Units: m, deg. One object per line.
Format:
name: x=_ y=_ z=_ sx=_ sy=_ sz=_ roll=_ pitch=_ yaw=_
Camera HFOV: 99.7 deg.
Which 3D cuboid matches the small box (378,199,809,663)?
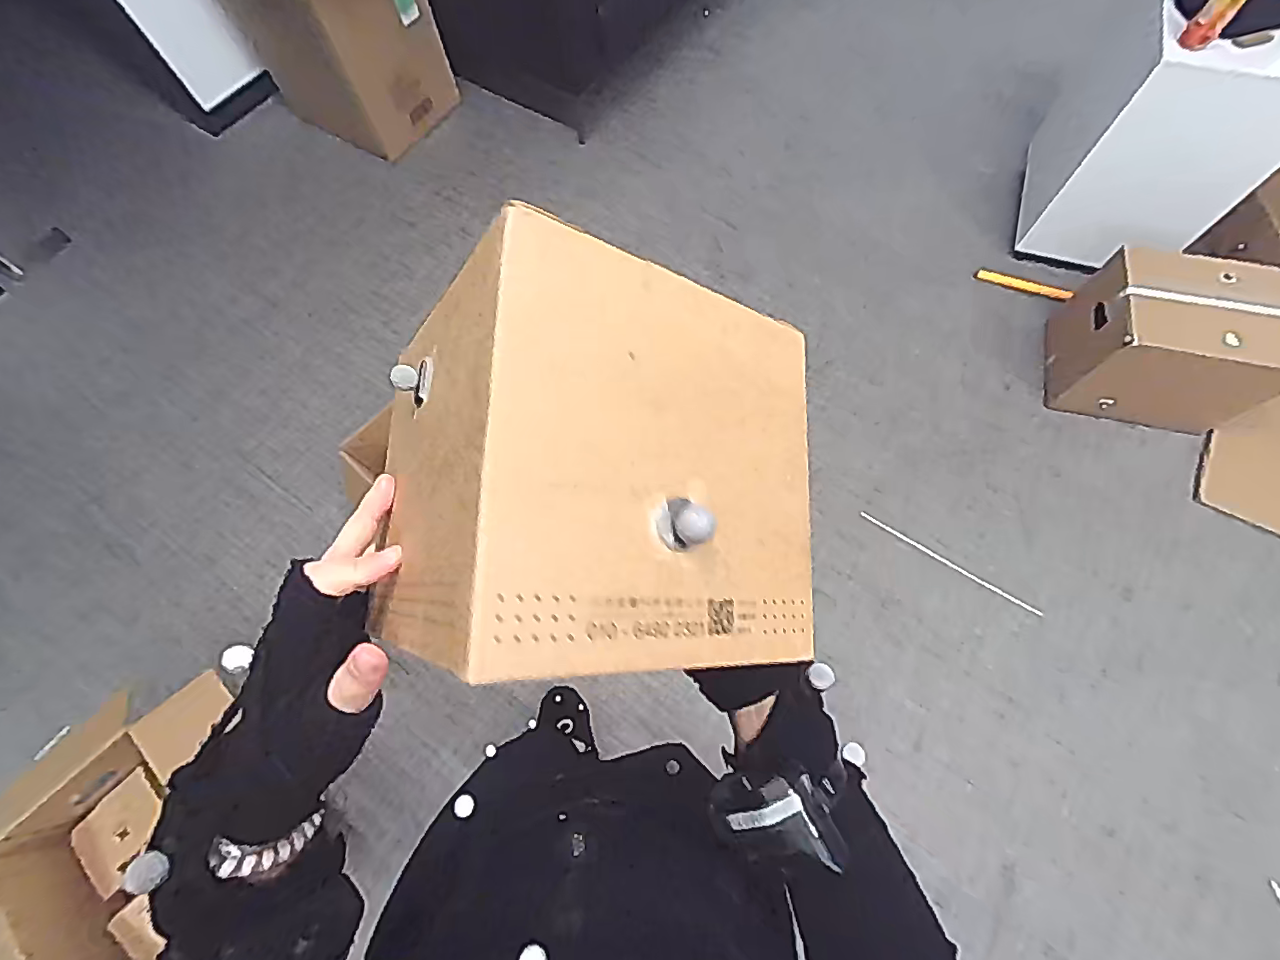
small box: x=-0.030 y=0.001 z=0.291 sx=0.168 sy=0.179 sz=0.176 roll=9 pitch=77 yaw=-35
